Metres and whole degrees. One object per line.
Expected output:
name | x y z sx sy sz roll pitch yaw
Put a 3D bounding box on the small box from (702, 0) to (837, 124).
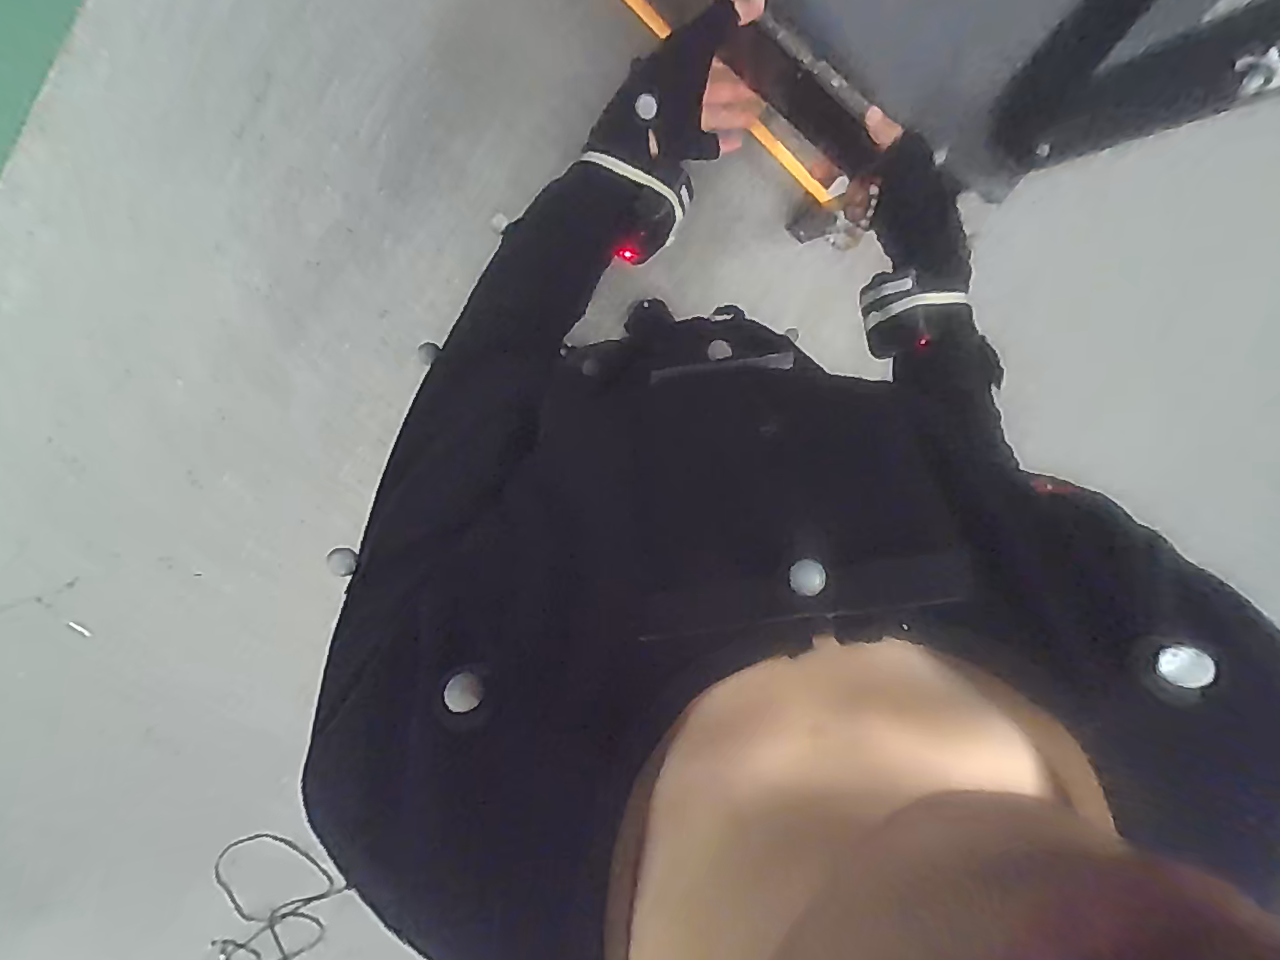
small box | 0.234 -0.830 1.033 0.168 0.176 0.179 41 103 -14
